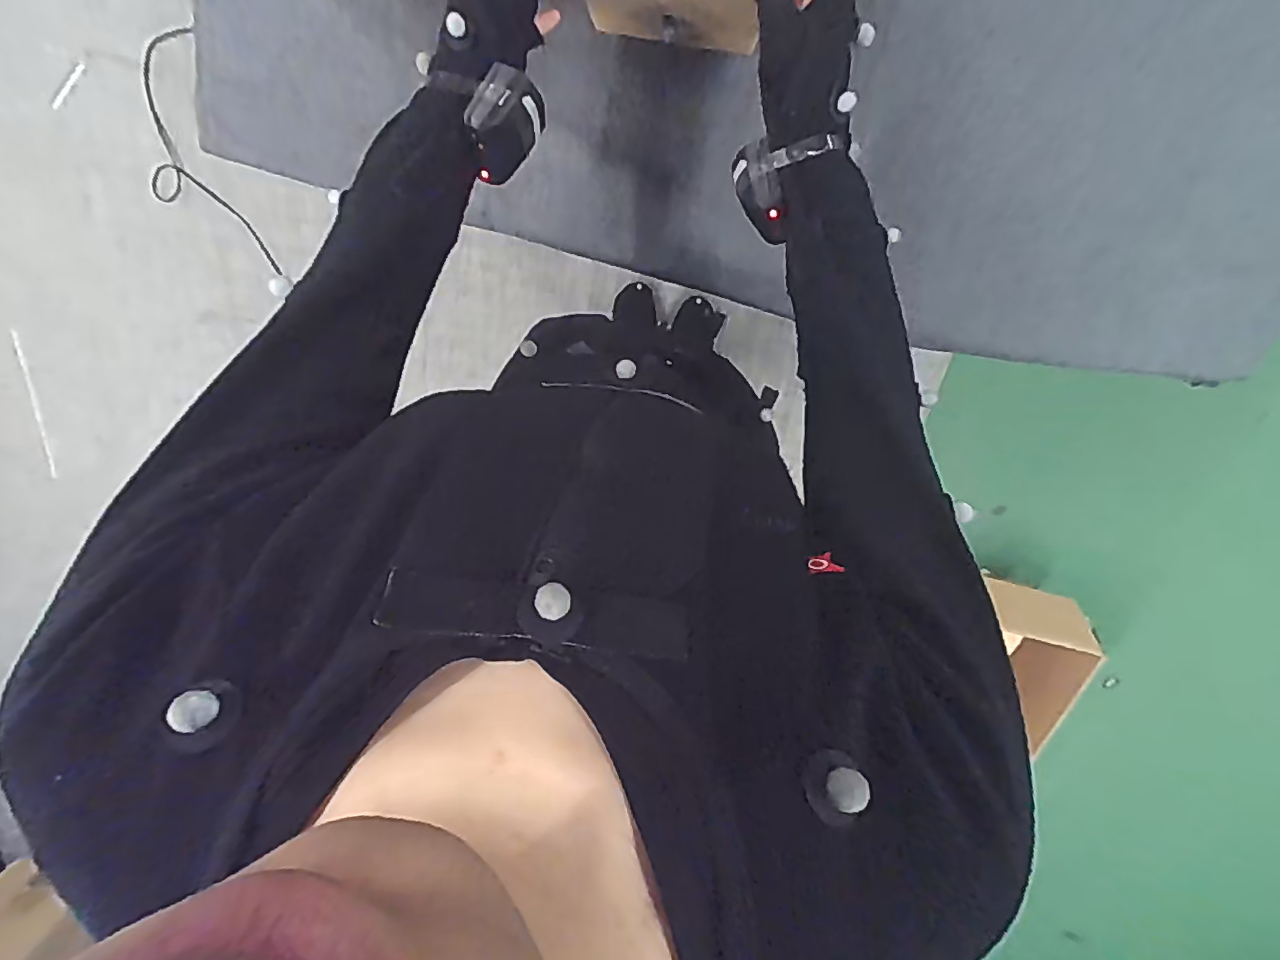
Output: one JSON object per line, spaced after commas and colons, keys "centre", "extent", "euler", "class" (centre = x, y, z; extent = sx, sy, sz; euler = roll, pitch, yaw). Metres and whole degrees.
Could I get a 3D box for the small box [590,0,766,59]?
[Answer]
{"centre": [0.040, -0.497, 0.452], "extent": [0.168, 0.176, 0.179], "euler": [10, 112, 1], "class": "small box"}
